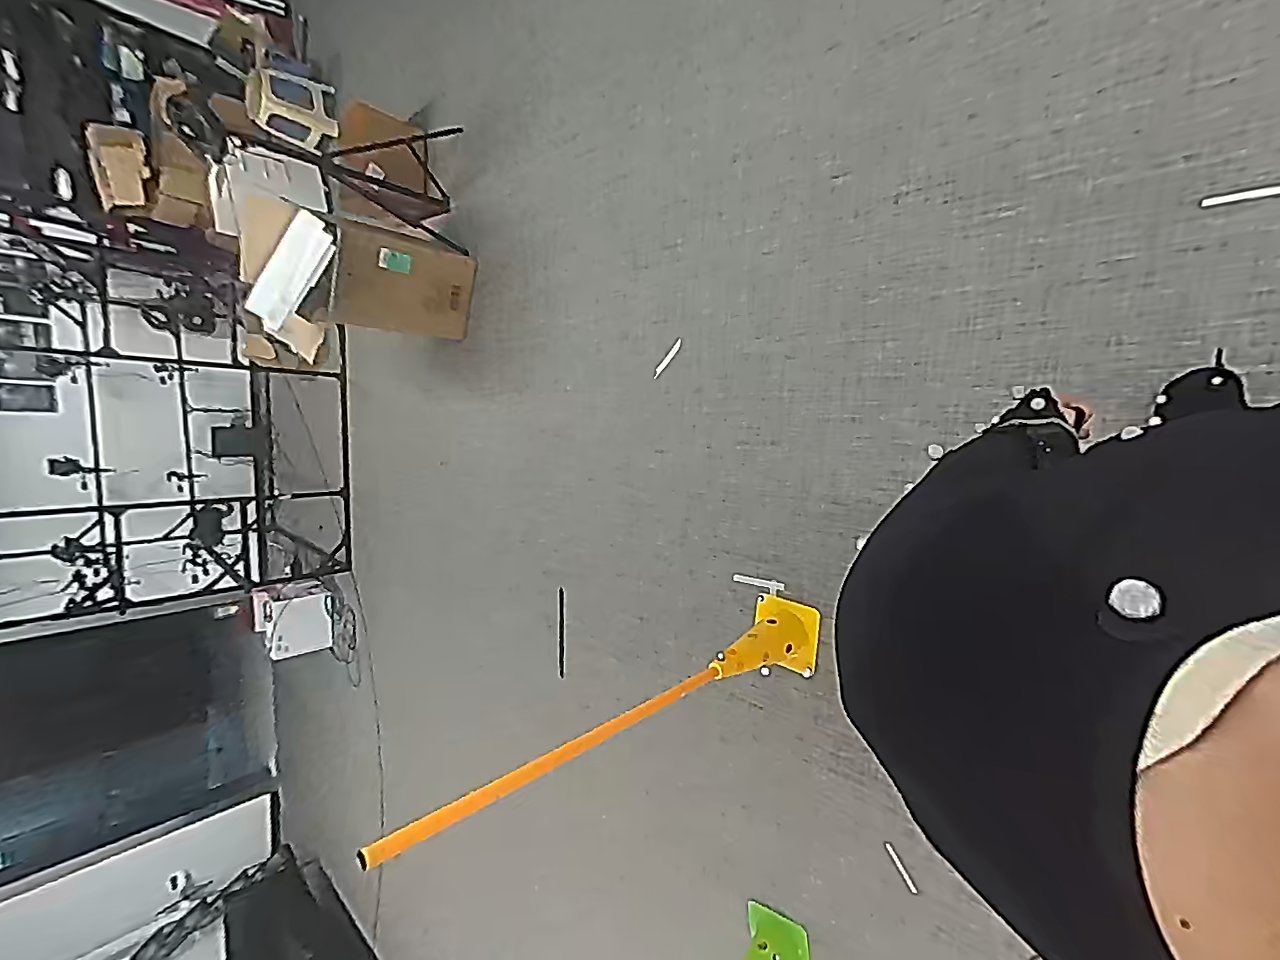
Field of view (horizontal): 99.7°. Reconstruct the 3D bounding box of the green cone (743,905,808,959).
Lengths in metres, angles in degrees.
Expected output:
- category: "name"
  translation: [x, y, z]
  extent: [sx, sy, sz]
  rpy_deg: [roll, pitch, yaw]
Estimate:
- category: "green cone"
  translation: [0.300, 1.423, 1.506]
  extent: [0.200, 0.368, 0.202]
  rpy_deg: [-7, 86, 43]
